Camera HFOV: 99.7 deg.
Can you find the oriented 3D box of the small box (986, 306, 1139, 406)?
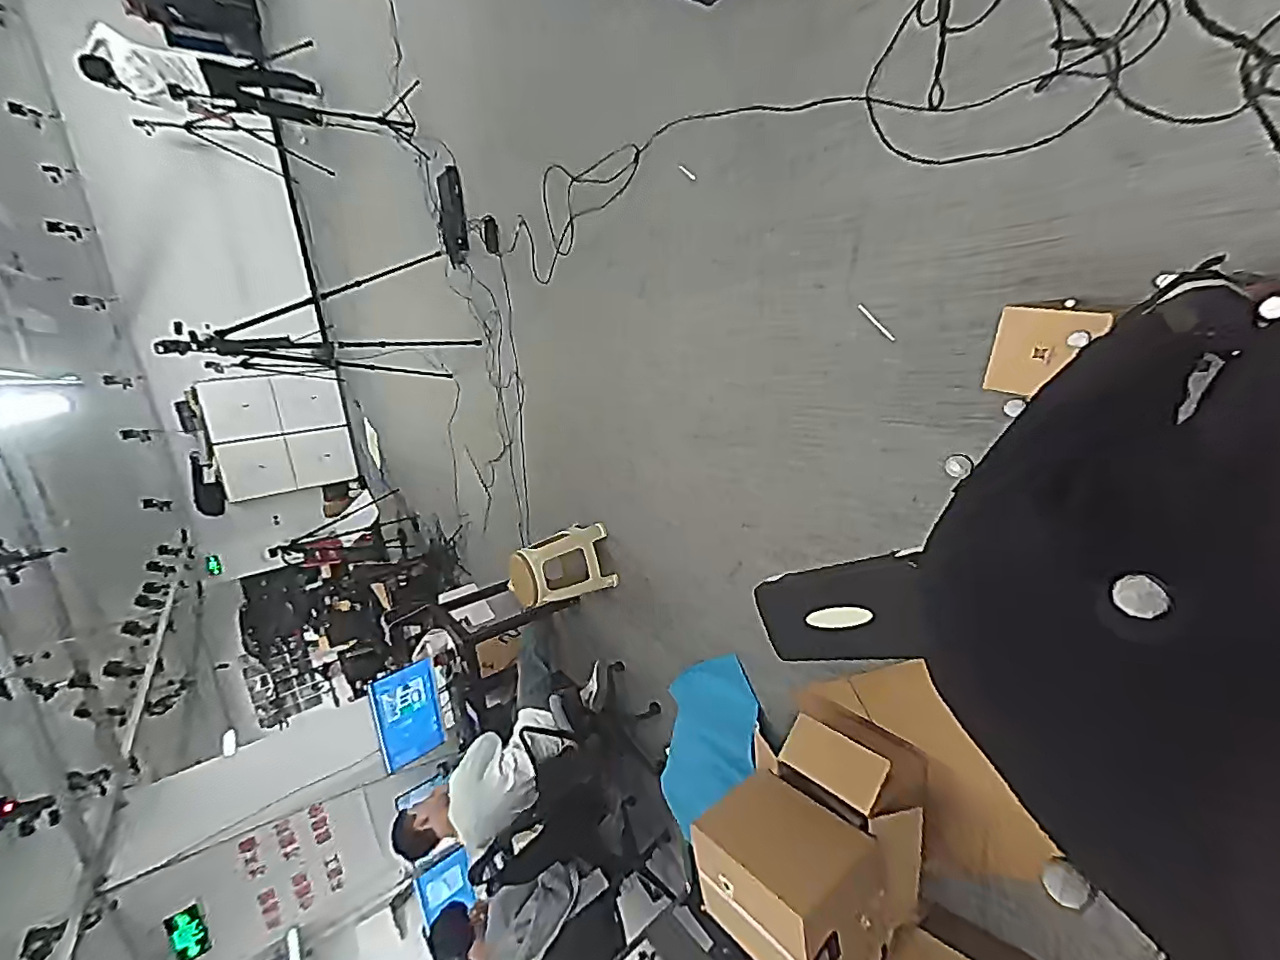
[{"bbox_3d":[0.829,-0.251,1.066,0.179,0.176,0.168,27,123,46],"label":"small box"}]
